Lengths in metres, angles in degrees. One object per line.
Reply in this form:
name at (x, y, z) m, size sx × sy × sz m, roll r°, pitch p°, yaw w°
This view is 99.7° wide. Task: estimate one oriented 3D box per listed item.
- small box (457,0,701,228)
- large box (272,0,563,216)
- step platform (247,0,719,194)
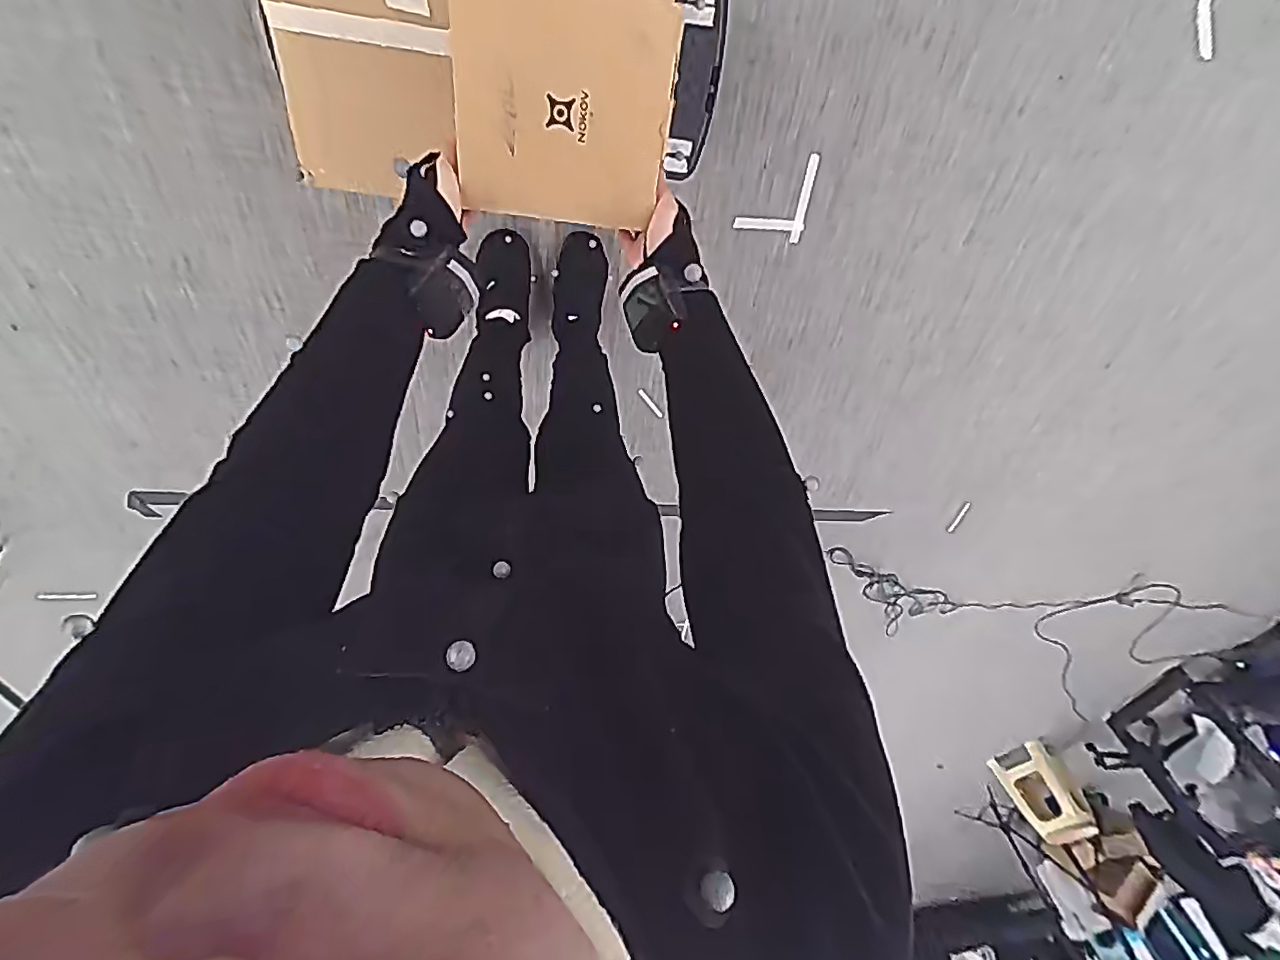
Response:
small box at (-0.063, -0.346, 0.487) m, size 0.179 × 0.176 × 0.168 m, roll 3°, pitch 128°, yaw -11°
large box at (-0.177, -0.548, 0.675) m, size 0.408 × 0.320 × 0.320 m, roll 3°, pitch 129°, yaw -9°
step platform at (-0.222, -0.688, 0.864) m, size 0.684 × 0.204 × 0.286 m, roll 7°, pitch 128°, yaw -13°
